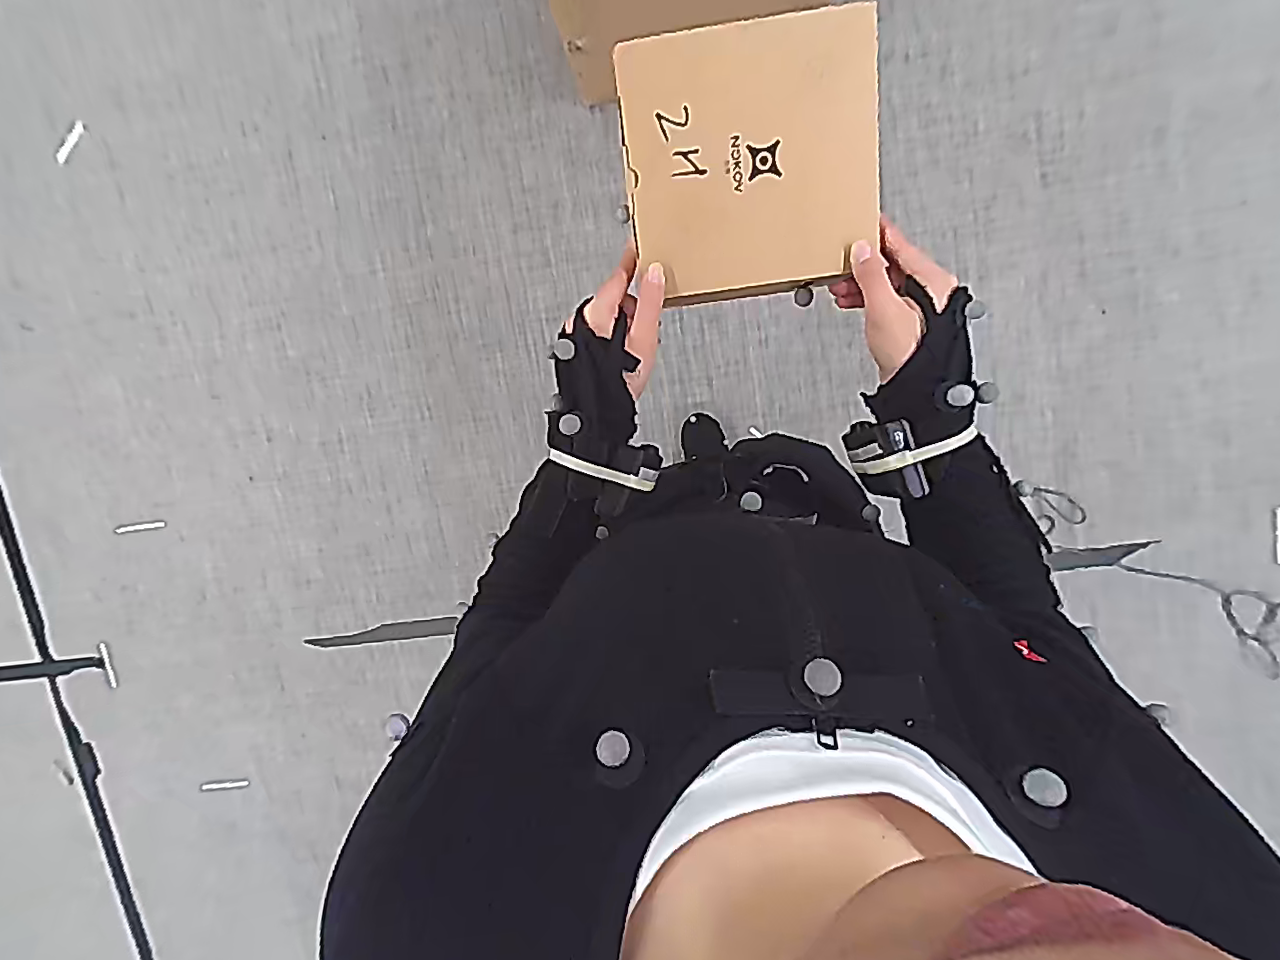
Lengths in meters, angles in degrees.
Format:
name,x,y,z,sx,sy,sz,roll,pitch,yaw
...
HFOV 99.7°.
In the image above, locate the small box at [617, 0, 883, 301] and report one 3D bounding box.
name,x,y,z,sx,sy,sz,roll,pitch,yaw
small box,0.080,-0.246,0.447,0.179,0.176,0.168,-6,105,4
